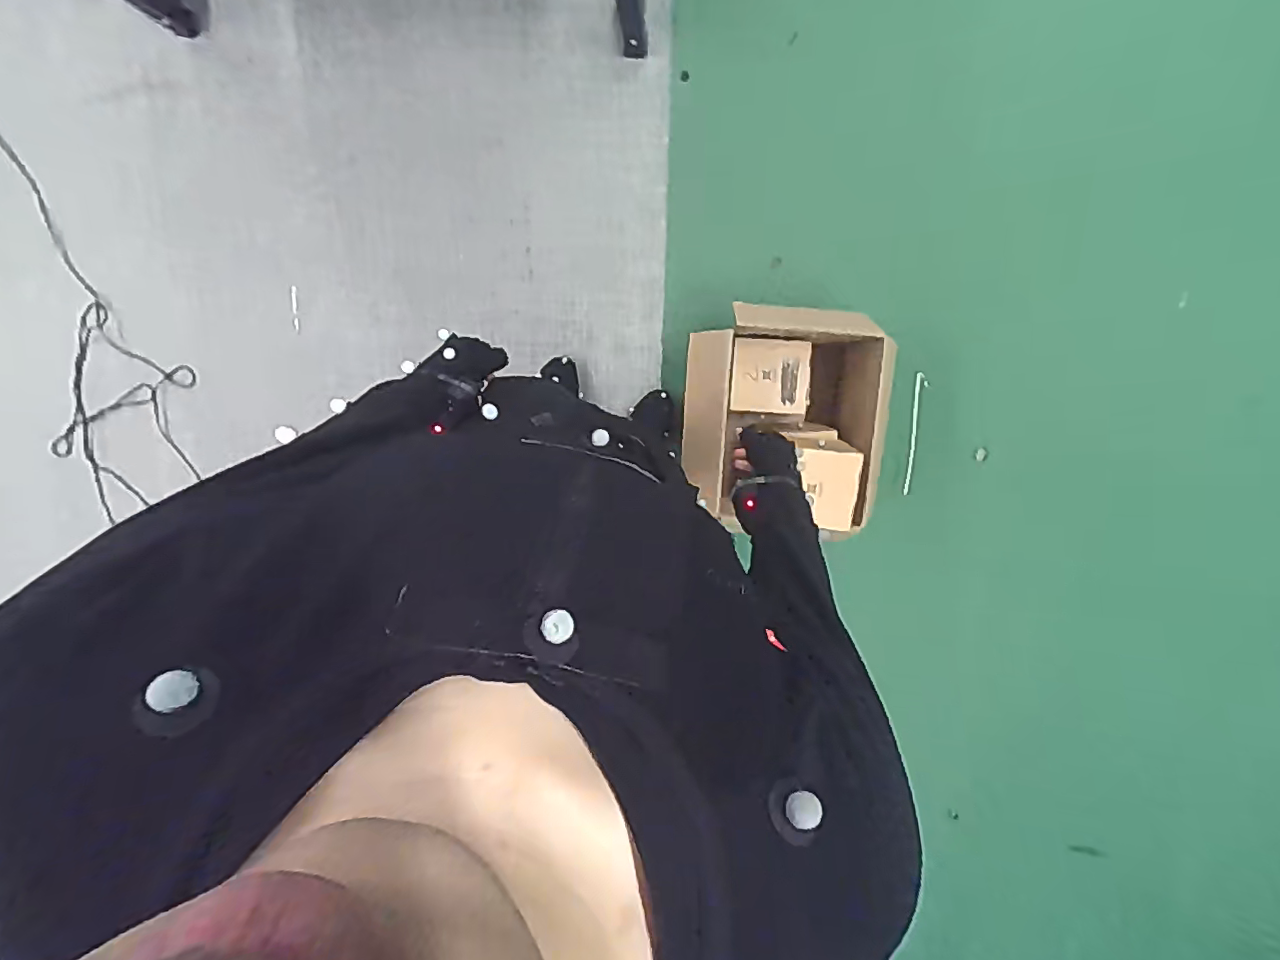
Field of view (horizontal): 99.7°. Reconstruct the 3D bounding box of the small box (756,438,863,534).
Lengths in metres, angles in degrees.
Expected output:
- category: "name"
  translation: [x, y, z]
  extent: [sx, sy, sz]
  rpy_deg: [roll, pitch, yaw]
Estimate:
- category: "small box"
  translation: [0.357, 0.005, 1.177]
  extent: [0.179, 0.176, 0.168]
  rpy_deg: [6, 103, 3]
